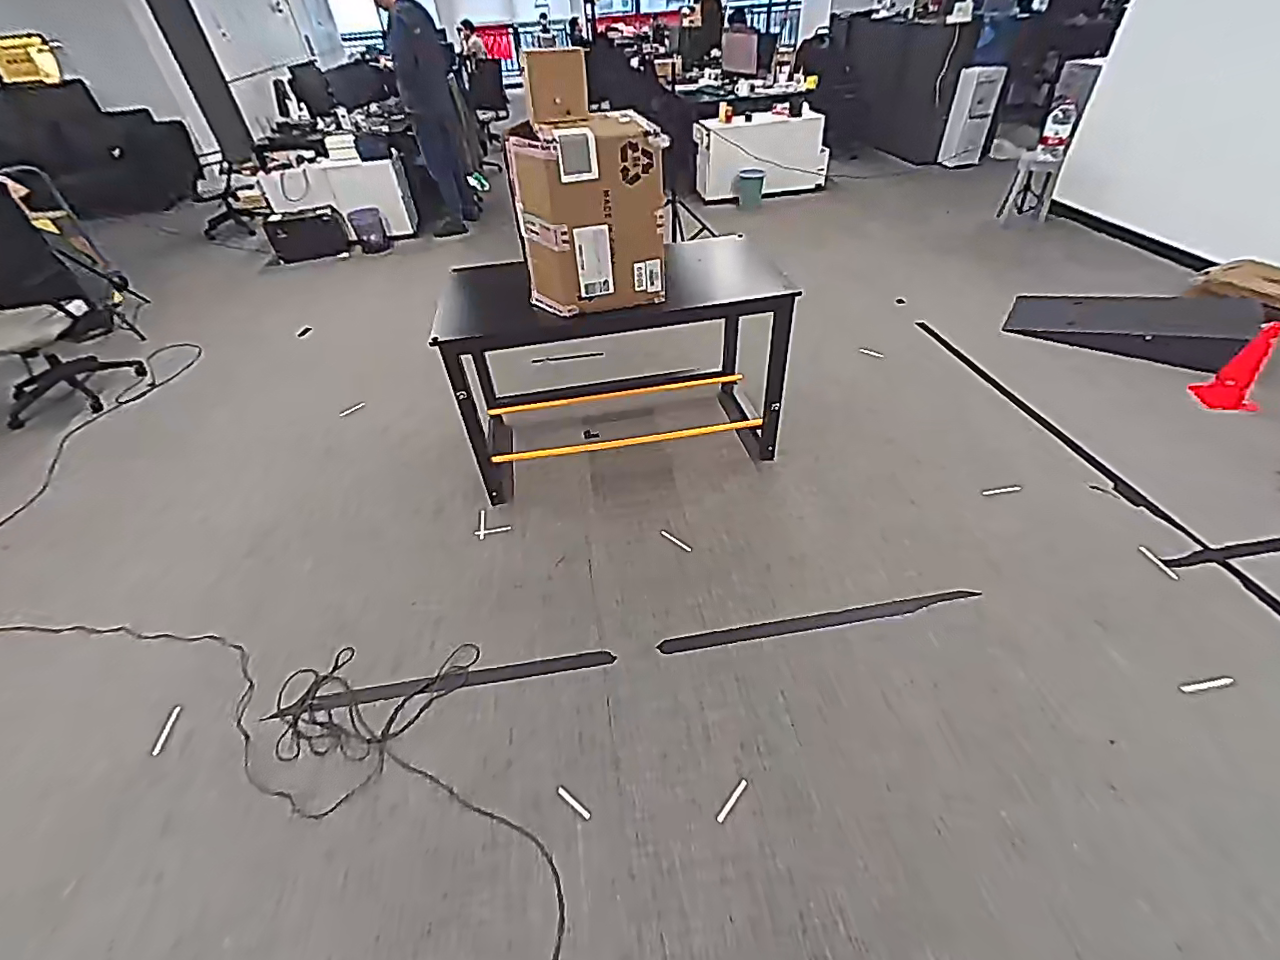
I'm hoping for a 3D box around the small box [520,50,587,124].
[{"bbox_3d":[-0.256,-1.163,1.599,0.168,0.176,0.179,-12,41,-10],"label":"small box"}]
